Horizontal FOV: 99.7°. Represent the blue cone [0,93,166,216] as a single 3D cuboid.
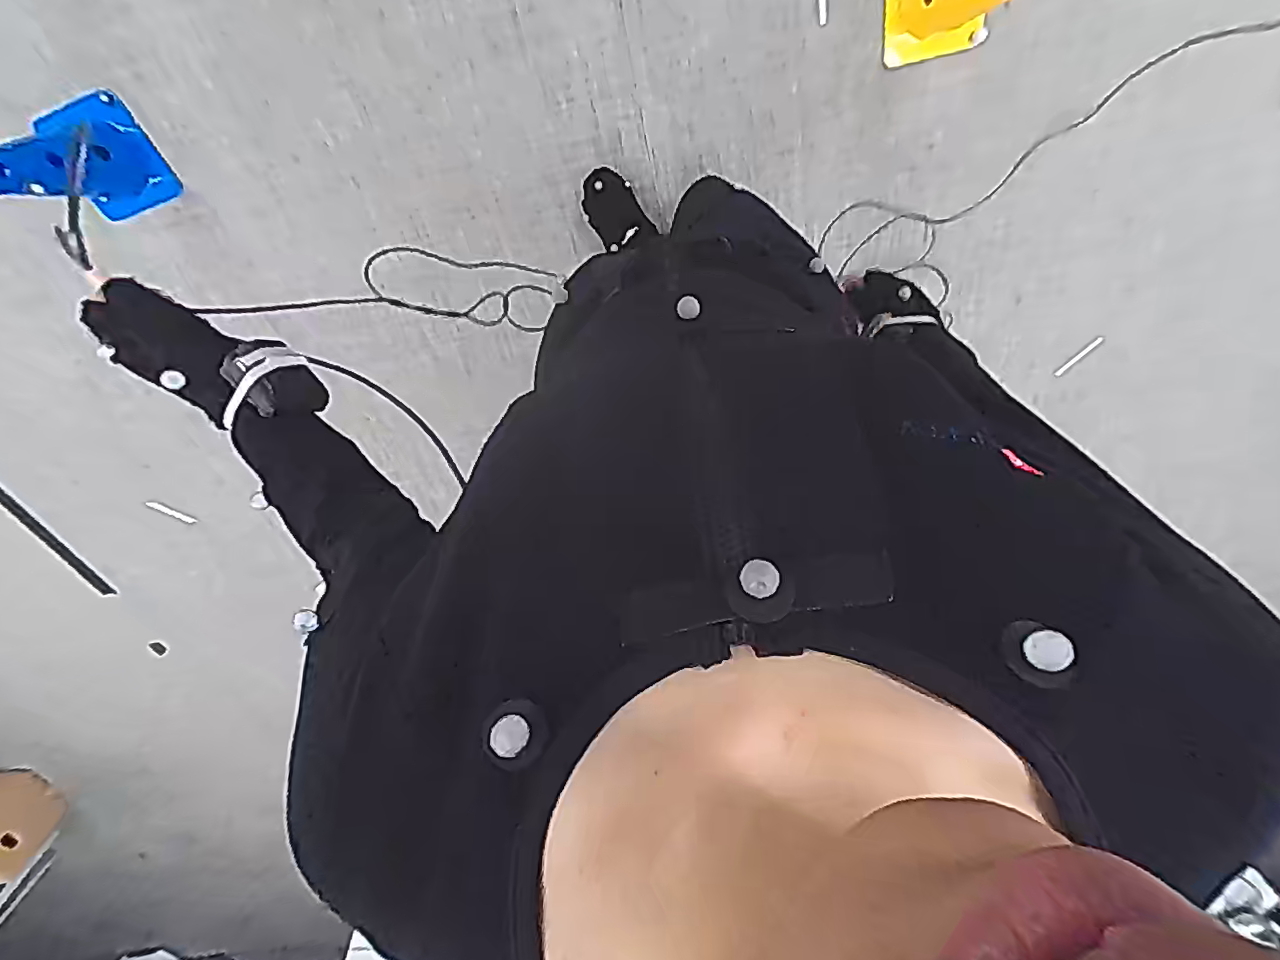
[{"bbox_3d":[-1.110,-0.574,0.990,0.193,0.380,0.192,-16,124,7],"label":"blue cone"}]
